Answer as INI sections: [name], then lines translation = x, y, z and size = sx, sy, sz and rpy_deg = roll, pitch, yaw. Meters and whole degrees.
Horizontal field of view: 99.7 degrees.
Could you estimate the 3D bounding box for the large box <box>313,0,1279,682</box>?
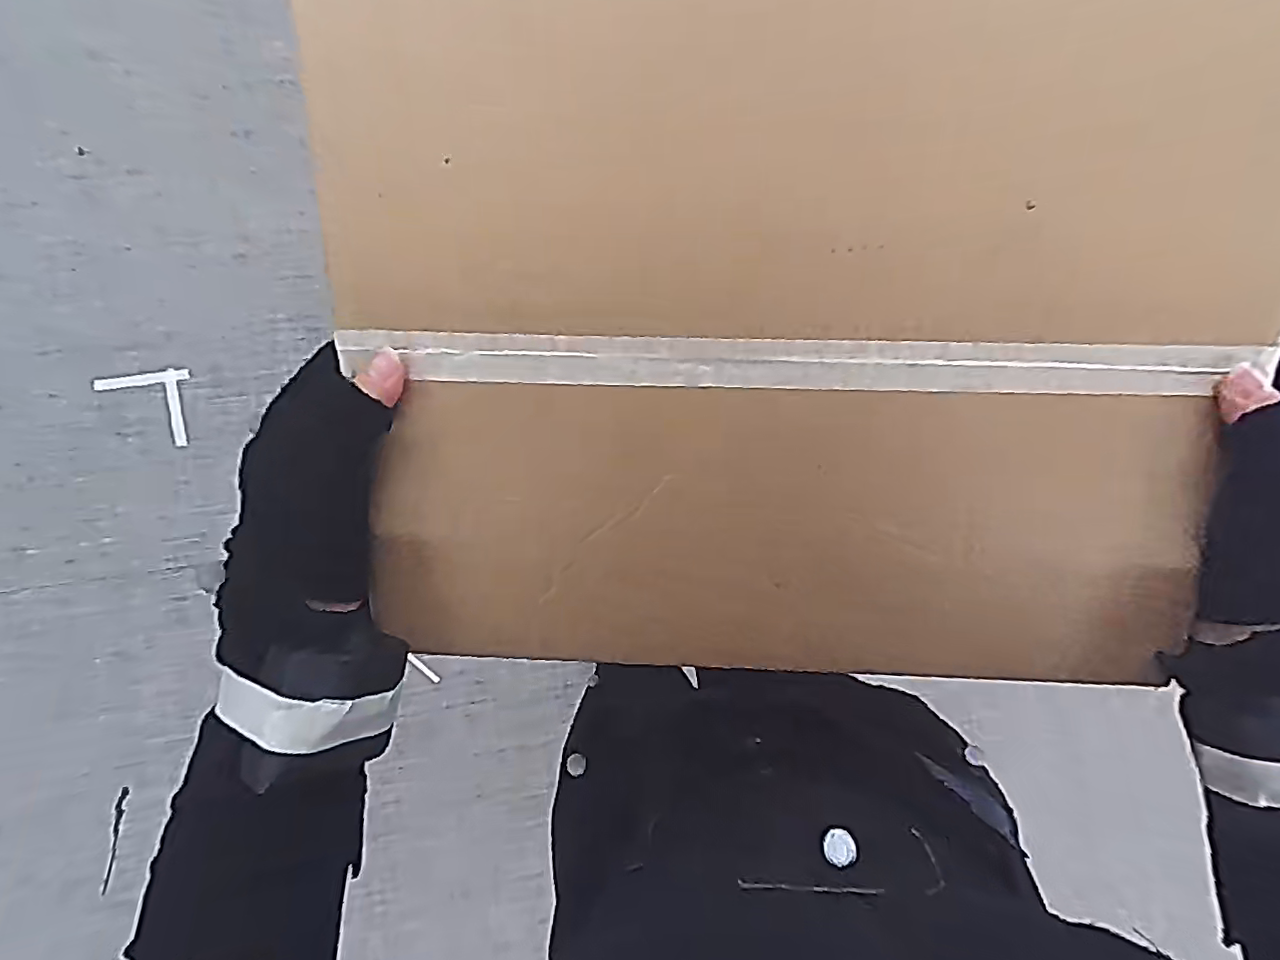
[large box]
translation = 0.072, -0.083, 0.394
size = 0.408, 0.320, 0.320
rpy_deg = 1, 106, 2
